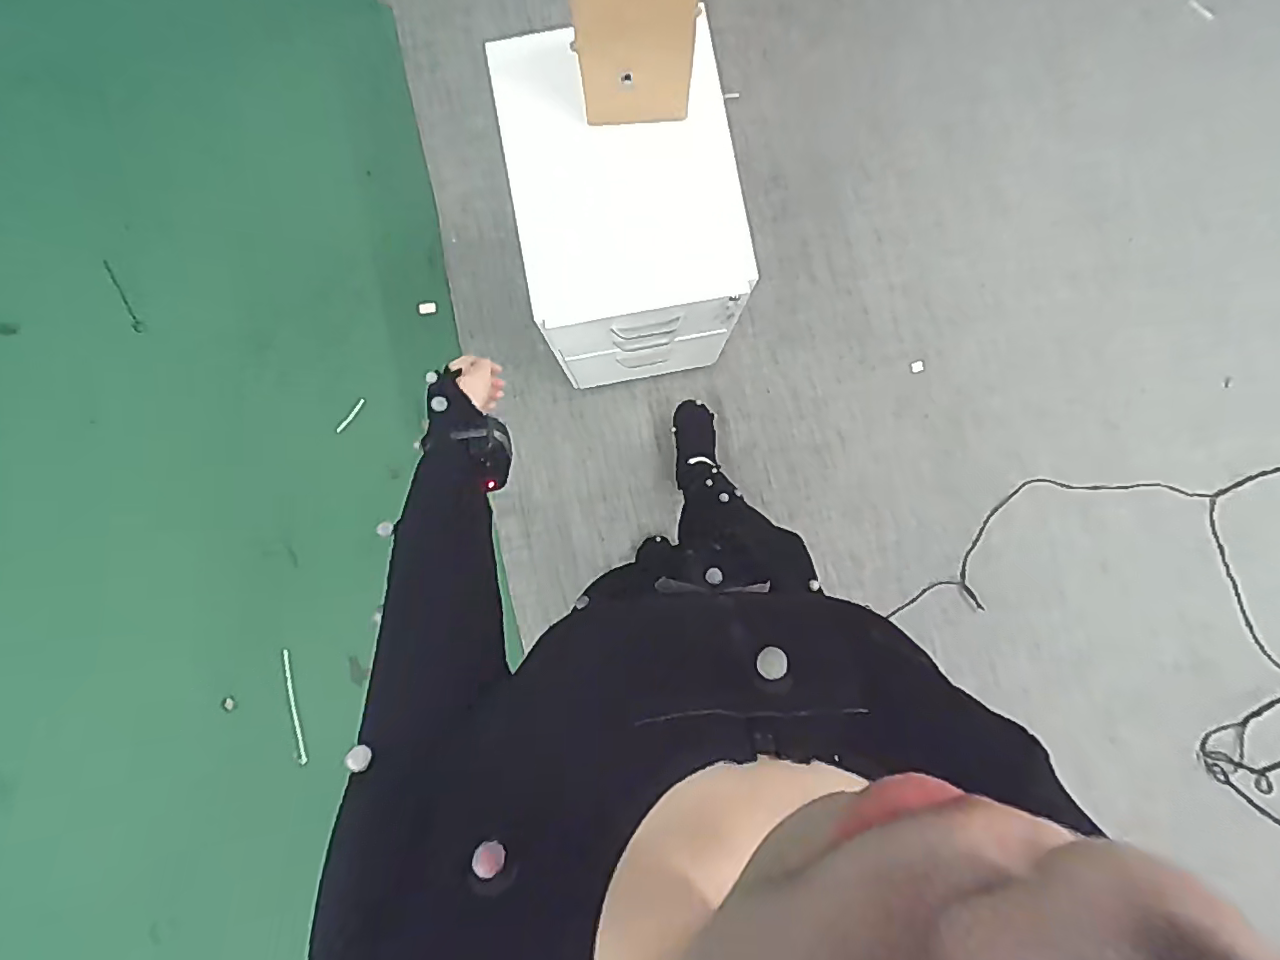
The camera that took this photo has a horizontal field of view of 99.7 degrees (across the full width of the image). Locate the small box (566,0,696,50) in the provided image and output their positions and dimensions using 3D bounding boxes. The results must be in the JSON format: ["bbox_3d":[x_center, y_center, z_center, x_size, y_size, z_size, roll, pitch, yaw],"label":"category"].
[{"bbox_3d":[-0.016,-0.707,0.705,0.179,0.176,0.168,-4,87,0],"label":"small box"}]

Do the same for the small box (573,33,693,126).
[{"bbox_3d":[-0.011,-0.703,0.868,0.179,0.176,0.168,-3,88,1],"label":"small box"}]
